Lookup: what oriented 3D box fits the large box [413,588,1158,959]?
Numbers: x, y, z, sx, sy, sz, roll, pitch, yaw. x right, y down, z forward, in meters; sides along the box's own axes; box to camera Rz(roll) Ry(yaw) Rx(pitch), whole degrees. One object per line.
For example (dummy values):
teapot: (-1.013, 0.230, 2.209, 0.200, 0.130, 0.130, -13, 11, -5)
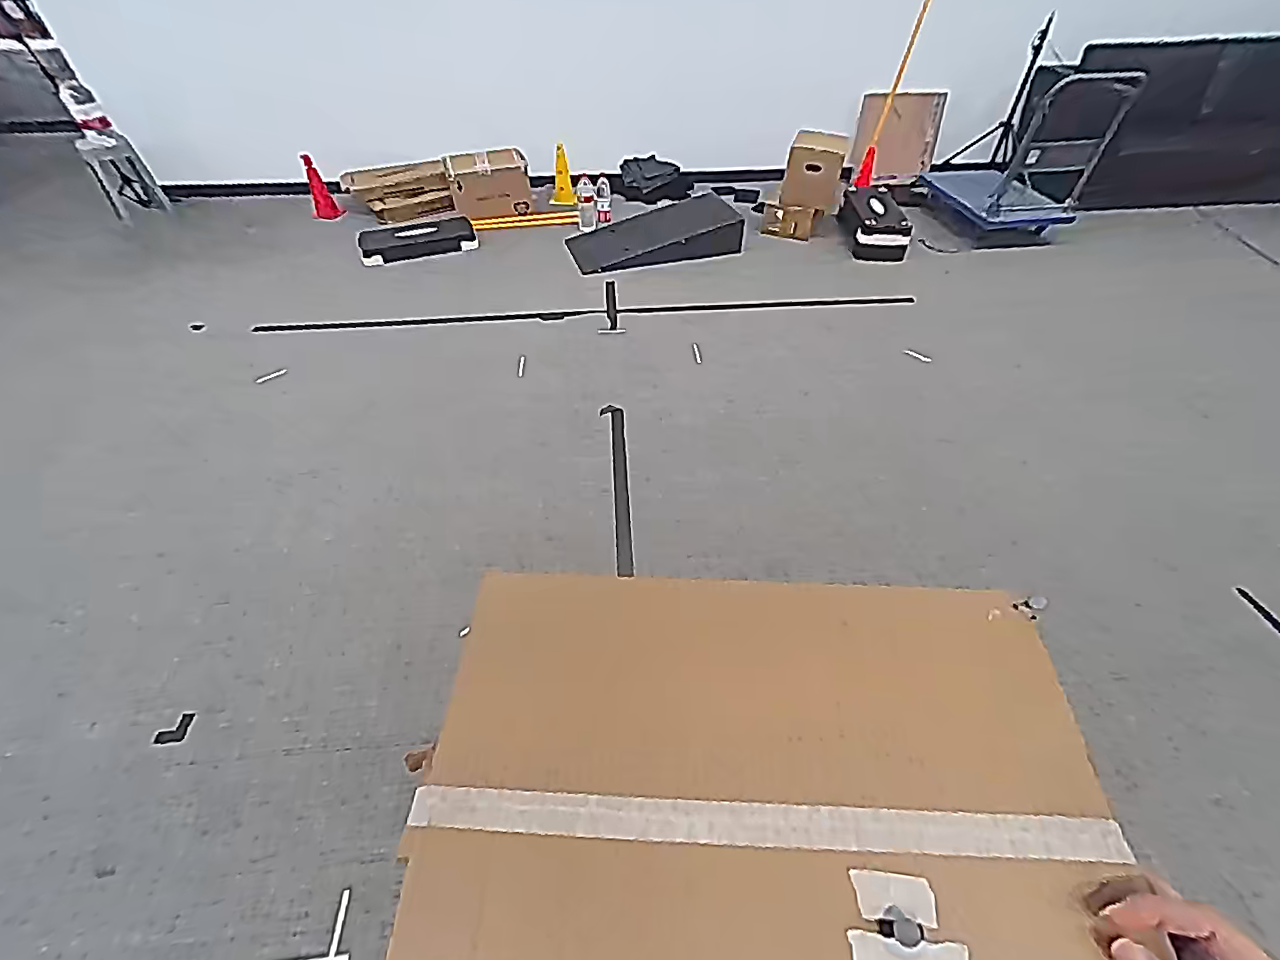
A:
large box: (0.078, 0.300, 0.441, 0.408, 0.320, 0.320, 1, 53, 2)
